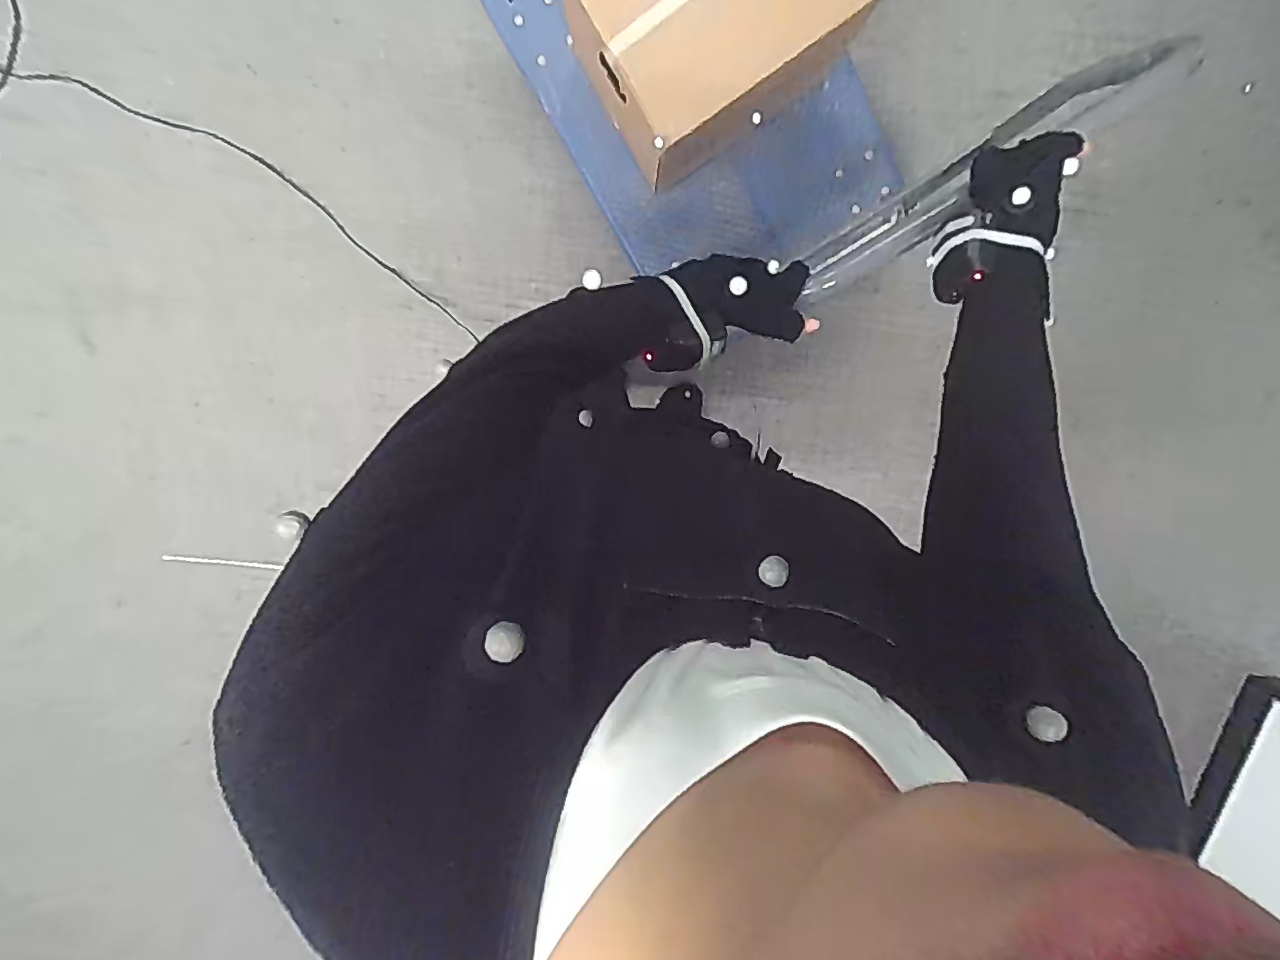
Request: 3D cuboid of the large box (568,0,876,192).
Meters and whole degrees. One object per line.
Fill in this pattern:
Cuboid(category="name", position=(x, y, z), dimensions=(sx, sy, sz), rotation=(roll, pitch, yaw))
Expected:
Cuboid(category="large box", position=(0.126, -0.797, 0.954), dimensions=(0.408, 0.320, 0.320), rotation=(-32, 103, 8))
